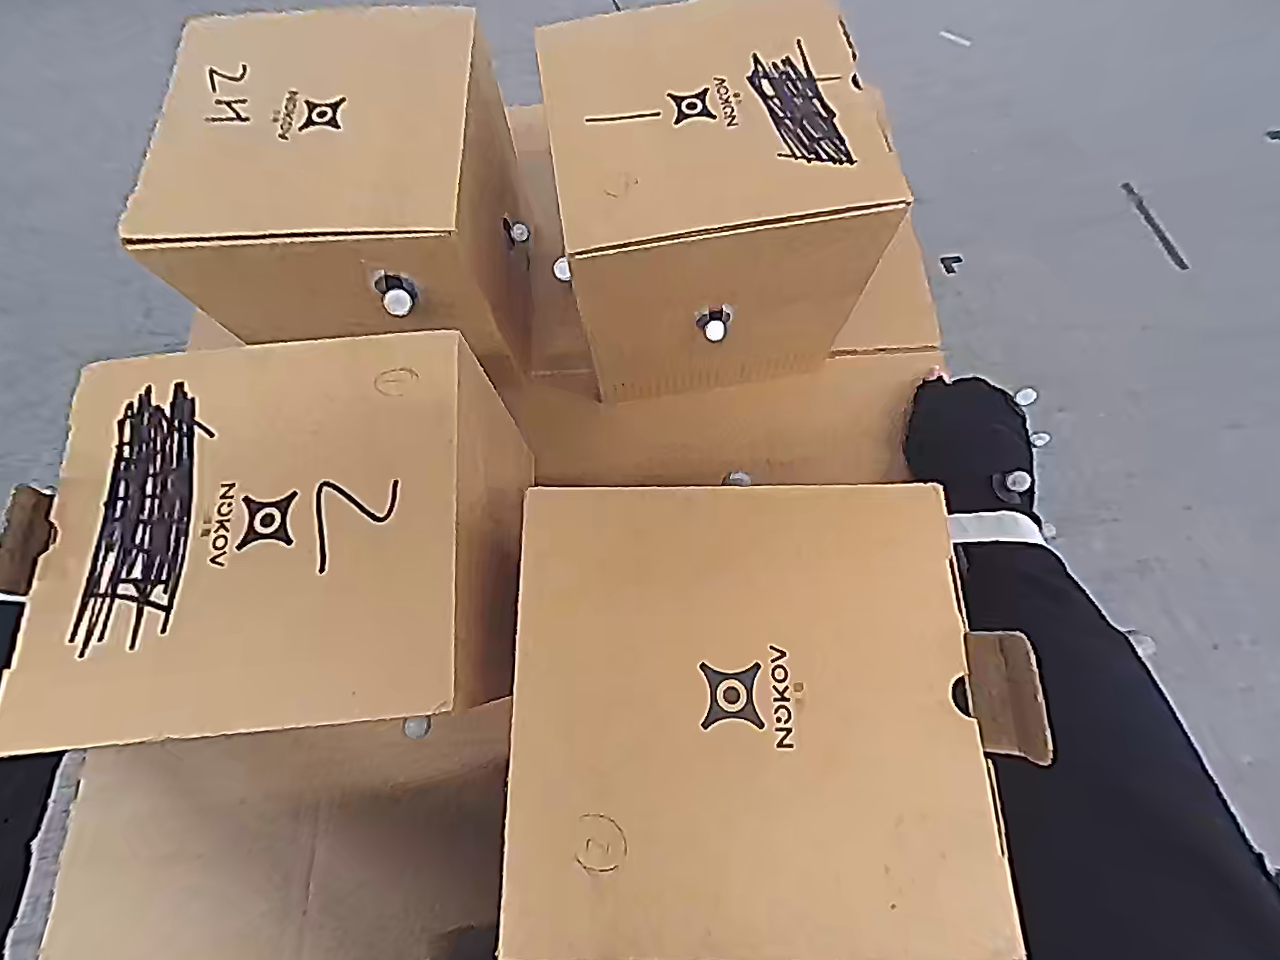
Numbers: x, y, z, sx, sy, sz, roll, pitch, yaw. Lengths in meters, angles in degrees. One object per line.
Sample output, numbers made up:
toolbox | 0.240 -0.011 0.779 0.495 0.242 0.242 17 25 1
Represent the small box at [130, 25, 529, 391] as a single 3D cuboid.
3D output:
small box | -0.182 -0.173 0.384 0.179 0.176 0.168 -1 72 2
